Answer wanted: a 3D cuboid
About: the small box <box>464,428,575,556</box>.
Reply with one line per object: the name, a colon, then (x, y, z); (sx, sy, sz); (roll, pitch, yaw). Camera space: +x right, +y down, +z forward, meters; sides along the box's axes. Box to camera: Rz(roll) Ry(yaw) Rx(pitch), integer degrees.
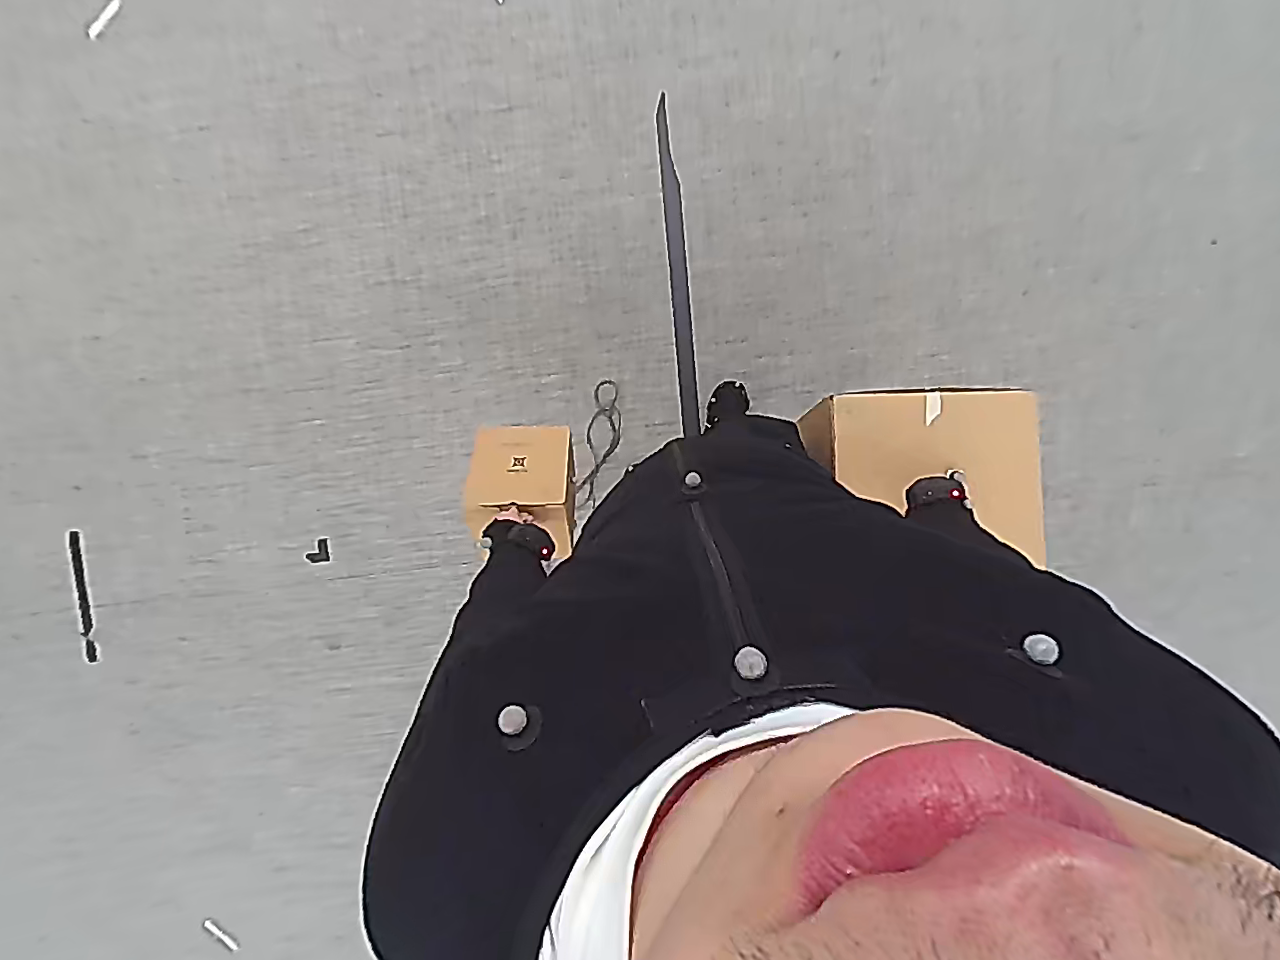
small box: (-0.205, 0.026, 0.975); (0.168, 0.176, 0.179); (0, 52, -3)
